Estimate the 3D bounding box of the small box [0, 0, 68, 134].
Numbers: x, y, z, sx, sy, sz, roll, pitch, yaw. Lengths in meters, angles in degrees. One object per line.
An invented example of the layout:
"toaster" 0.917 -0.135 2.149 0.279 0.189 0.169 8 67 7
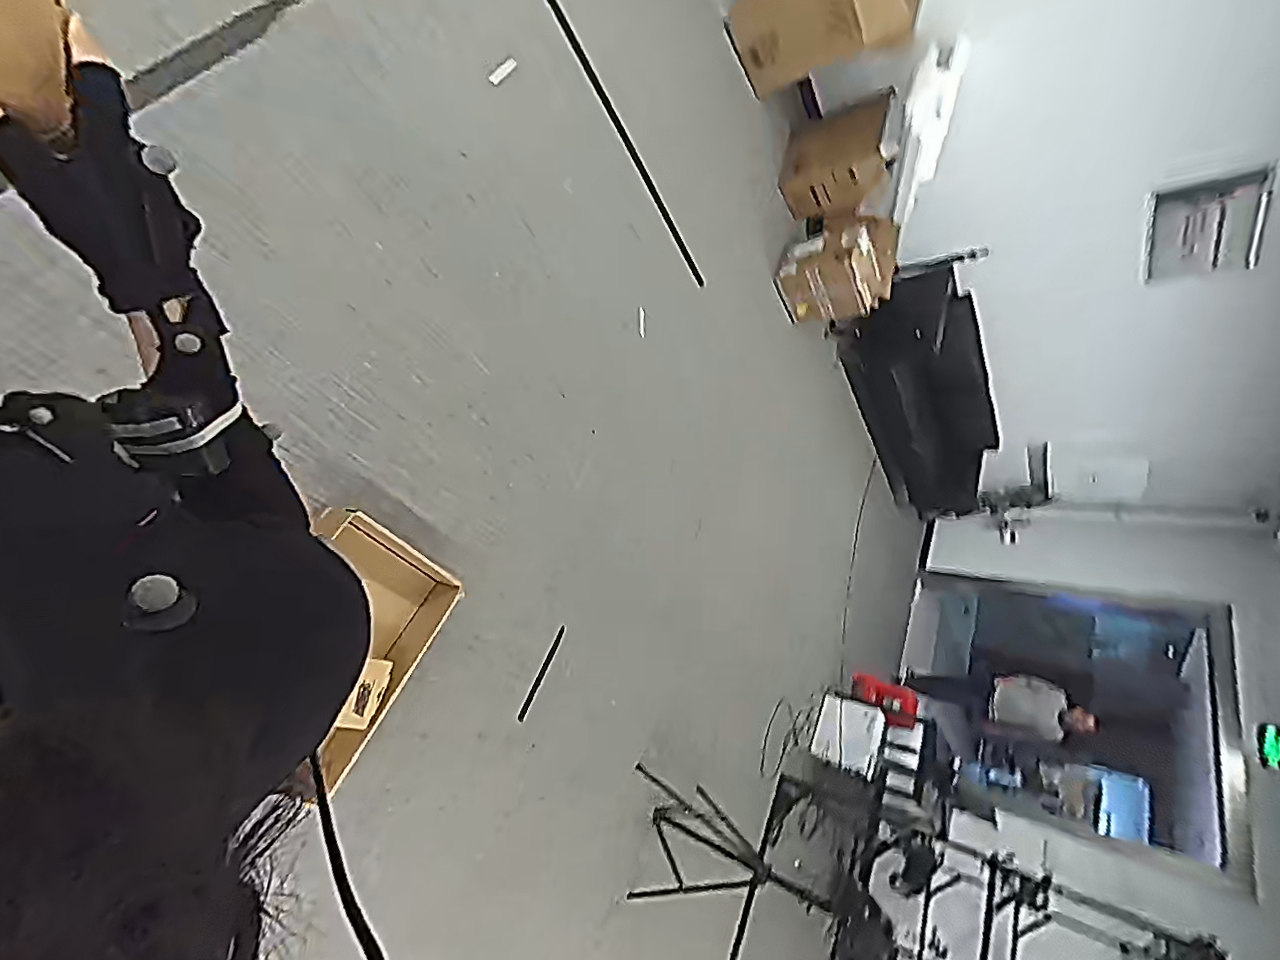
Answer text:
"small box" -0.437 -0.305 0.274 0.179 0.176 0.168 -8 117 -55
